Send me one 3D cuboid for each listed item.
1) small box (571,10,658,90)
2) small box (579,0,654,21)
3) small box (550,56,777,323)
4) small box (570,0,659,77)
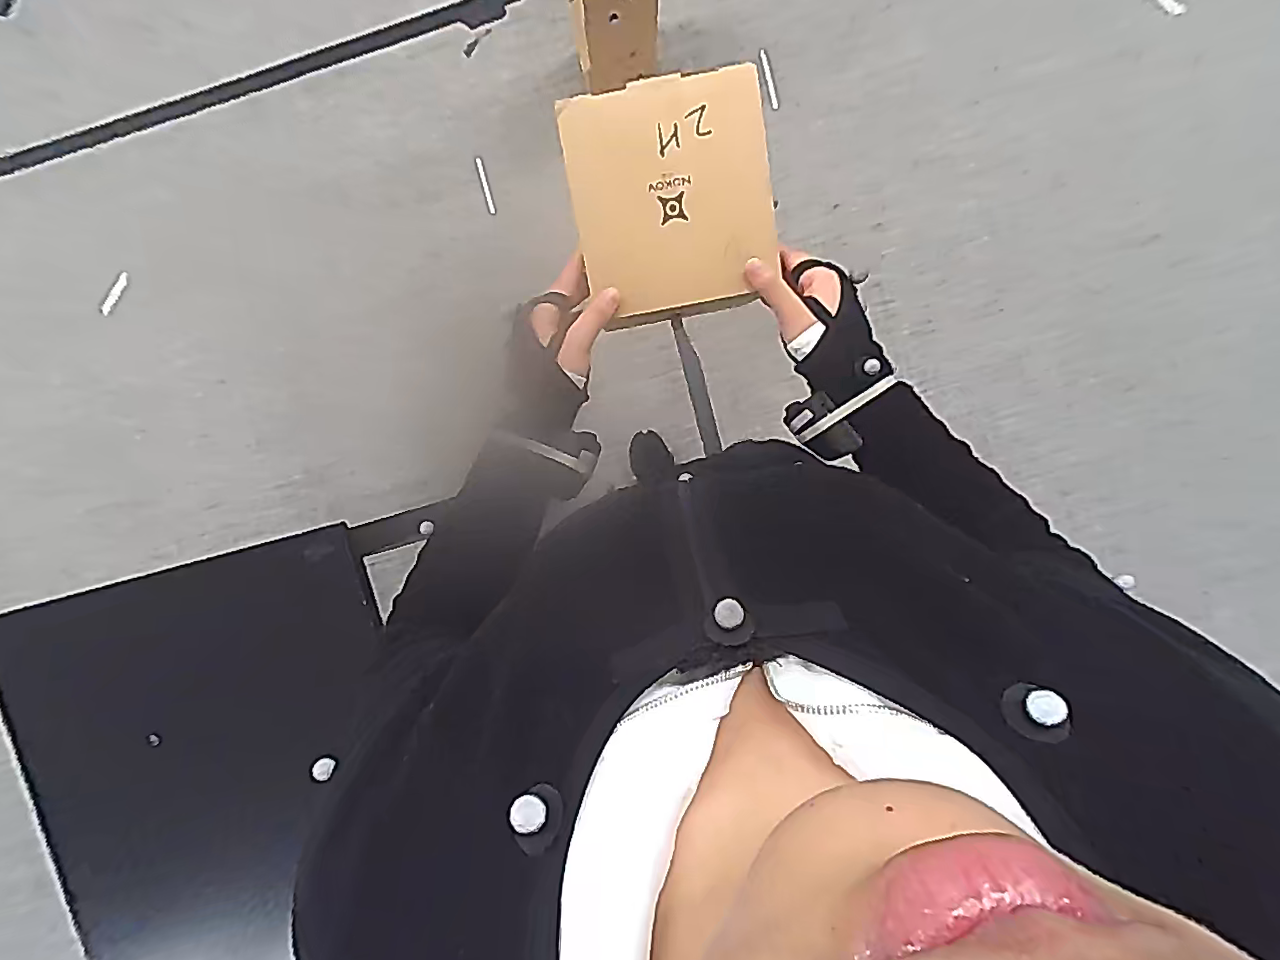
[{"bbox_3d":[-0.059,-1.064,1.358,0.179,0.176,0.168,-16,92,4],"label":"small box"},{"bbox_3d":[-0.061,-1.045,1.030,0.168,0.176,0.179,-18,93,2],"label":"small box"},{"bbox_3d":[0.023,-0.254,0.524,0.168,0.176,0.179,-11,102,2],"label":"small box"},{"bbox_3d":[-0.061,-1.053,1.195,0.168,0.176,0.179,-18,92,3],"label":"small box"}]
